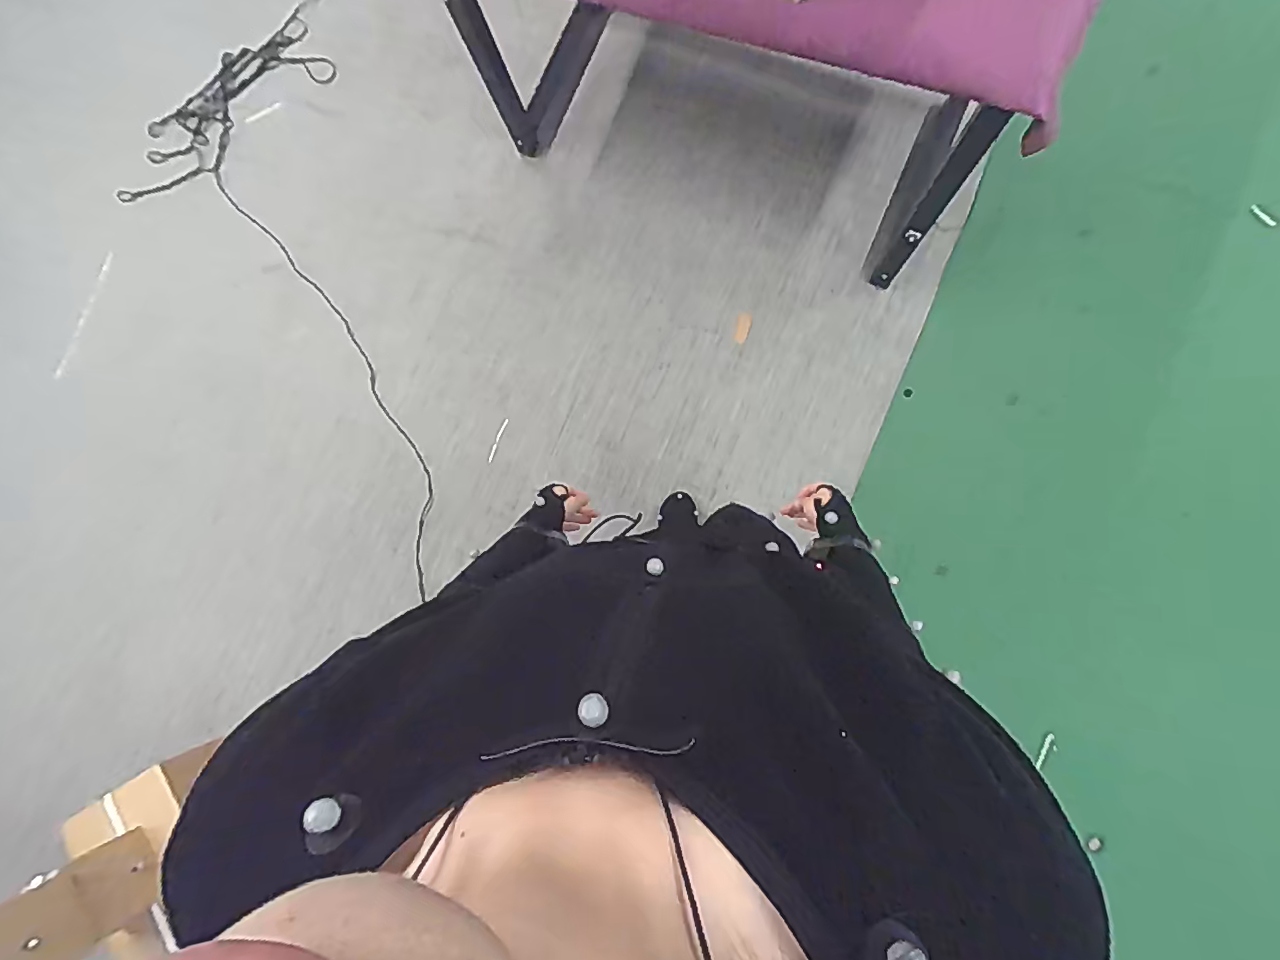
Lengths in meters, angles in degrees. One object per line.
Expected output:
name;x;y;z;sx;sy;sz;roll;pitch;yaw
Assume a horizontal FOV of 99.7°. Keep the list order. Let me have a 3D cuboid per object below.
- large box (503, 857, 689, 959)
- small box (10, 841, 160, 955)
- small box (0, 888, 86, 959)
large box;-0.104;1.174;1.284;0.408;0.320;0.320;8;87;6
small box;-1.223;0.937;1.182;0.168;0.176;0.179;-38;81;3
small box;-1.224;0.919;1.017;0.168;0.176;0.179;-33;83;3
